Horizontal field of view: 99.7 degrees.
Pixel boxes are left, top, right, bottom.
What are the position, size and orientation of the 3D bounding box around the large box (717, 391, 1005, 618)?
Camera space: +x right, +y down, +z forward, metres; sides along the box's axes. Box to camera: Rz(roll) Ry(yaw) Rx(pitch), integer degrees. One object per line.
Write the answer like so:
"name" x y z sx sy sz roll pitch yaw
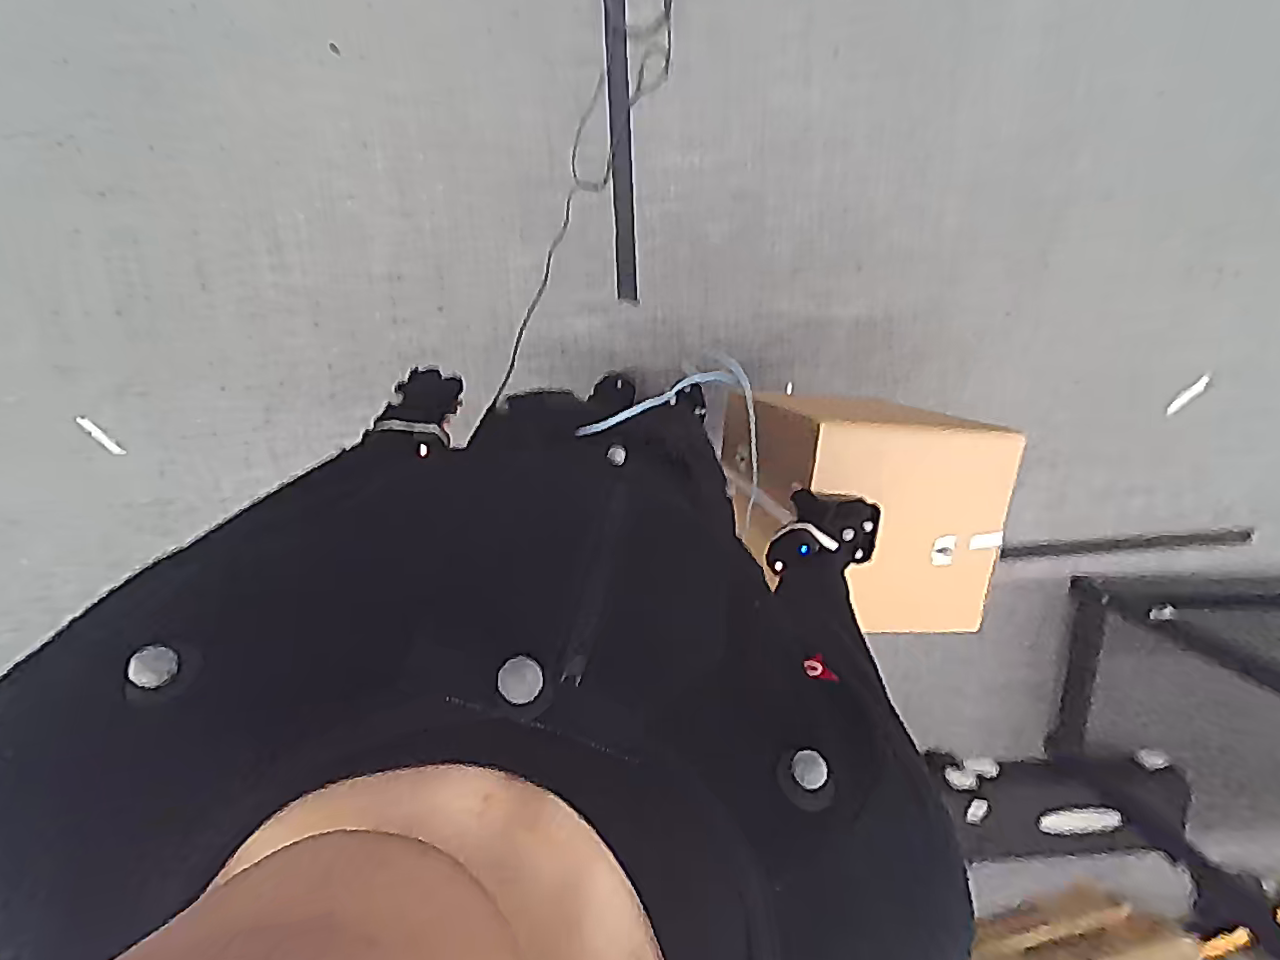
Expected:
"large box" 0.349 0.016 0.974 0.320 0.408 0.320 2 105 -8
